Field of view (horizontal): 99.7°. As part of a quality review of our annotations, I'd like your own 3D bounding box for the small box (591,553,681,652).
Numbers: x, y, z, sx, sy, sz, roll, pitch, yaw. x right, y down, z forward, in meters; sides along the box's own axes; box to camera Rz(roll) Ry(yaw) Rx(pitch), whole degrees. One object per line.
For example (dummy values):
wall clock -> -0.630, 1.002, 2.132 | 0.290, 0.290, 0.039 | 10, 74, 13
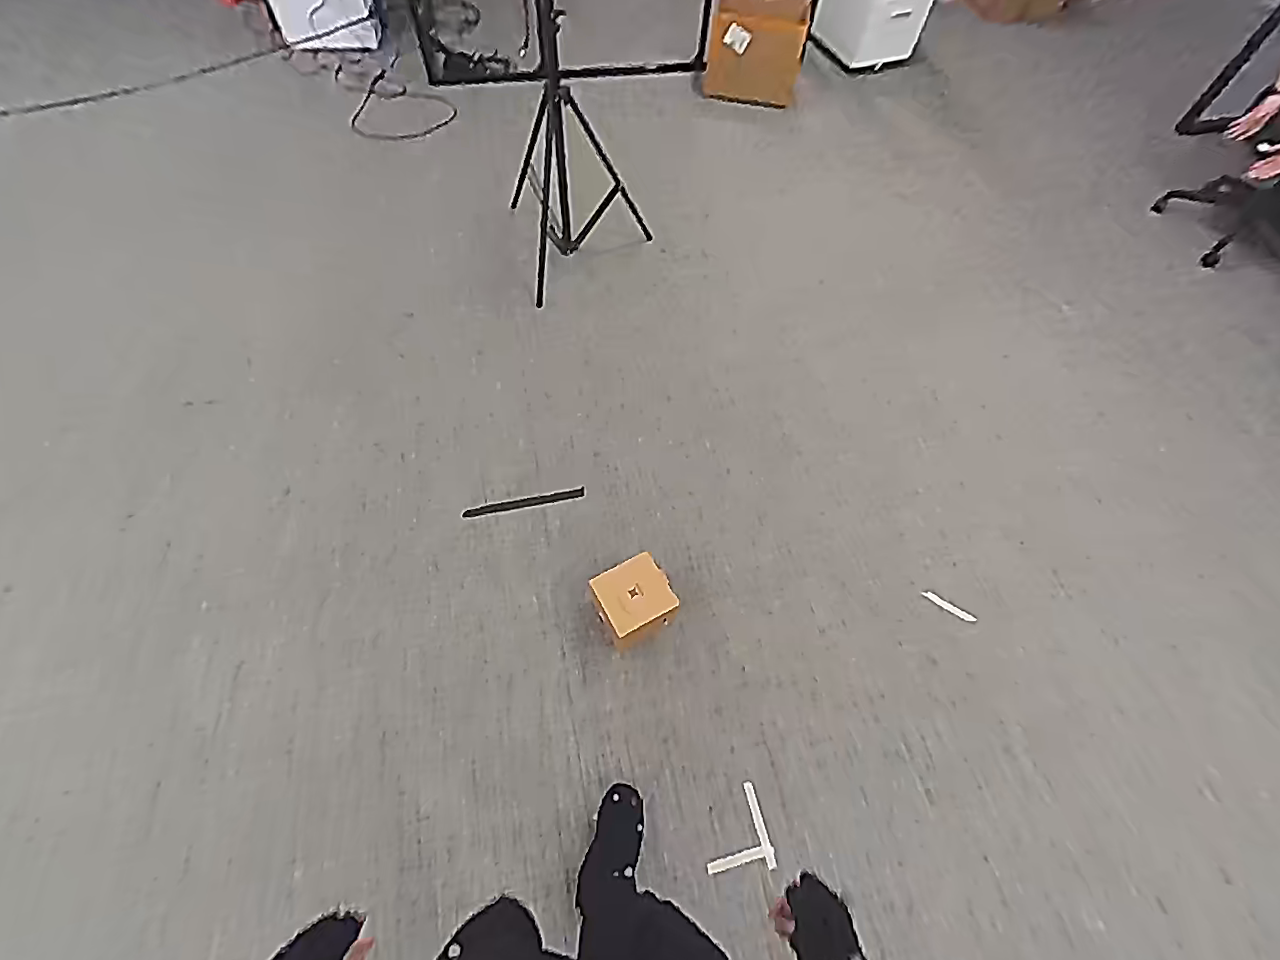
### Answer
small box -> -0.015, 0.323, 1.409 | 0.179, 0.176, 0.168 | -27, 64, -16
